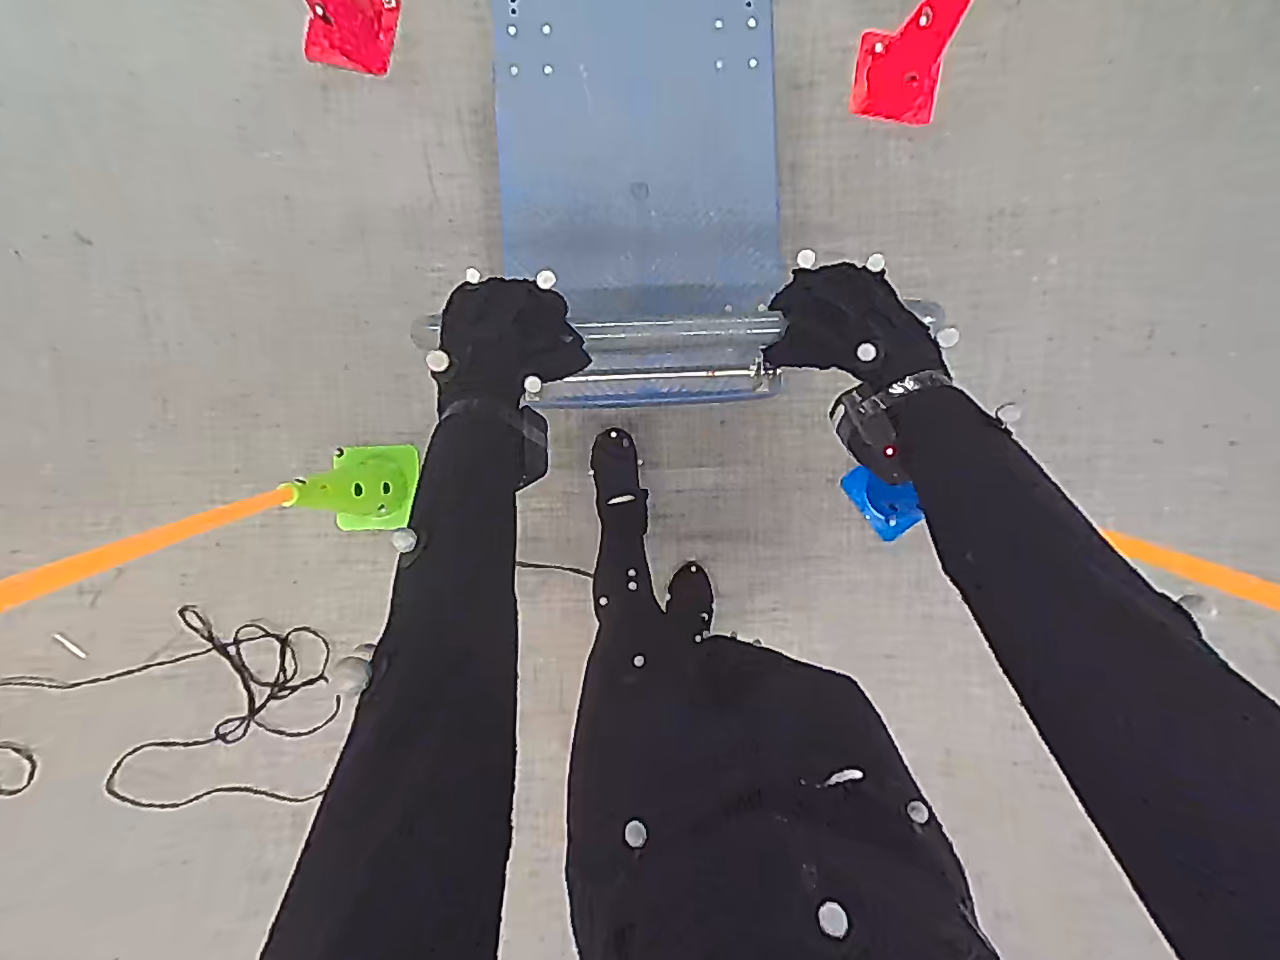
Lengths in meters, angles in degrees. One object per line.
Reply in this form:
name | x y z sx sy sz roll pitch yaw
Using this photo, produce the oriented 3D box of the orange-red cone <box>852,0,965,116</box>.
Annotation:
orange-red cone | 0.613 -0.969 1.113 0.198 0.360 0.199 10 92 0
